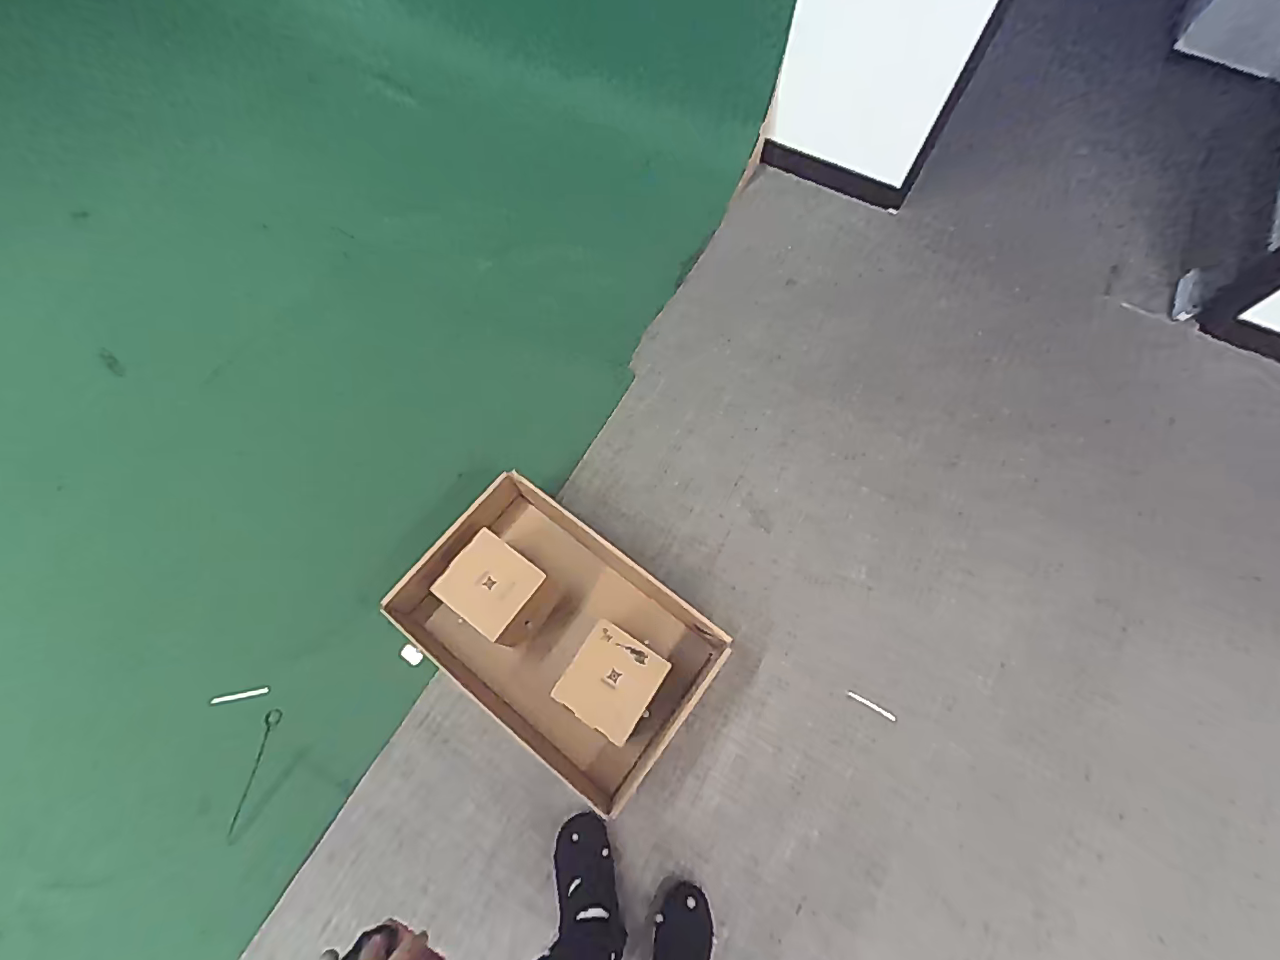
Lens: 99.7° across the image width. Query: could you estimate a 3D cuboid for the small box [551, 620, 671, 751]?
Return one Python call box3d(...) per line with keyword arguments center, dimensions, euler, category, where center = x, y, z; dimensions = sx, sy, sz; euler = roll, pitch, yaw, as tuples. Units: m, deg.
box3d(center=(-0.052, 0.410, 1.089), dimensions=(0.168, 0.176, 0.179), euler=(33, 73, 11), category="small box")
